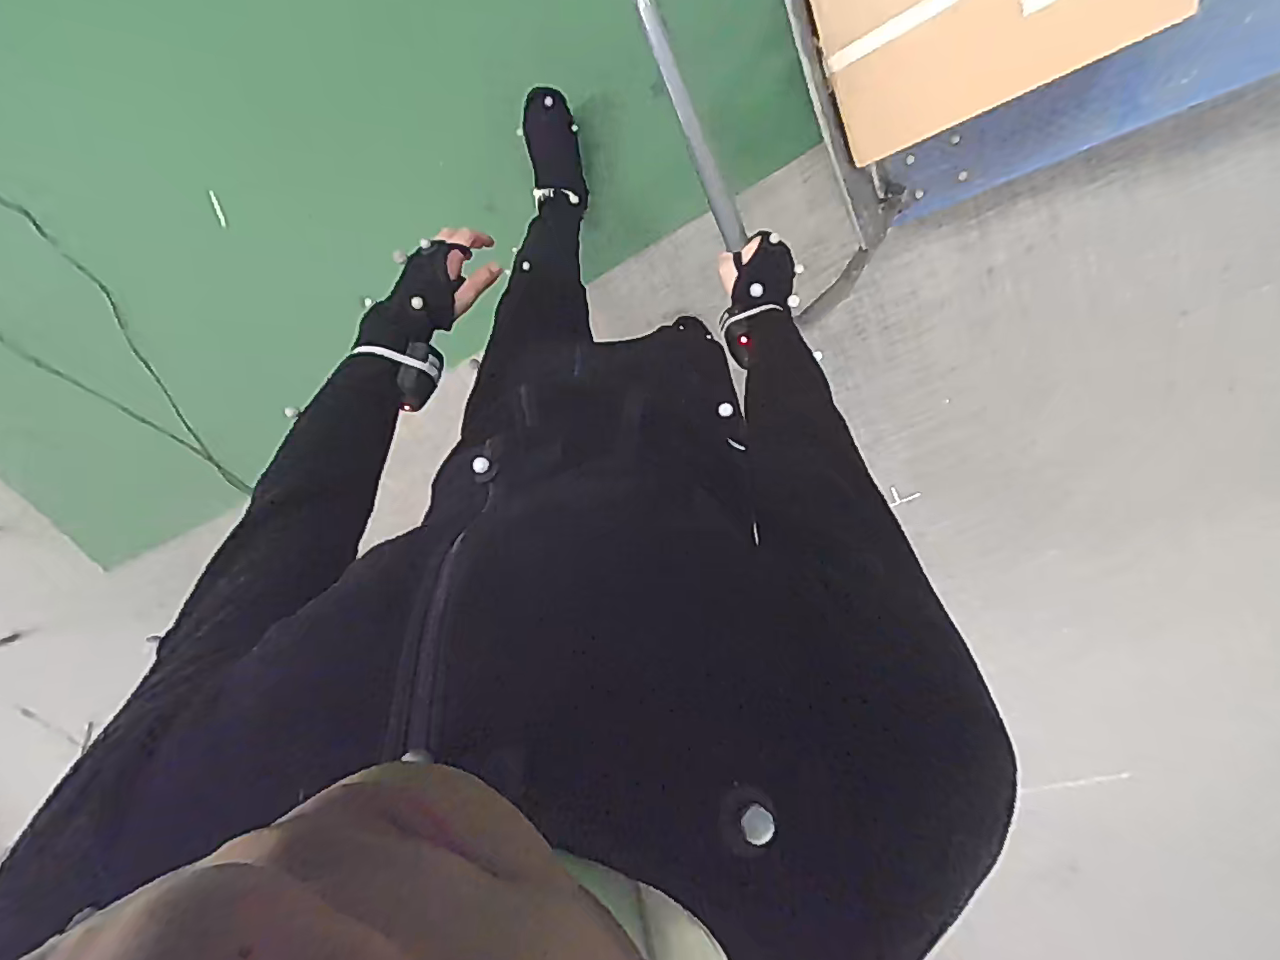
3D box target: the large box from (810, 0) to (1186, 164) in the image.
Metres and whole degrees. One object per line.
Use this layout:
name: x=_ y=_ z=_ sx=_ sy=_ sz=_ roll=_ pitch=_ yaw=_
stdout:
large box: x=0.511 y=-0.756 z=0.827 sx=0.408 sy=0.320 sz=0.320 roll=-10 pitch=120 yaw=36
